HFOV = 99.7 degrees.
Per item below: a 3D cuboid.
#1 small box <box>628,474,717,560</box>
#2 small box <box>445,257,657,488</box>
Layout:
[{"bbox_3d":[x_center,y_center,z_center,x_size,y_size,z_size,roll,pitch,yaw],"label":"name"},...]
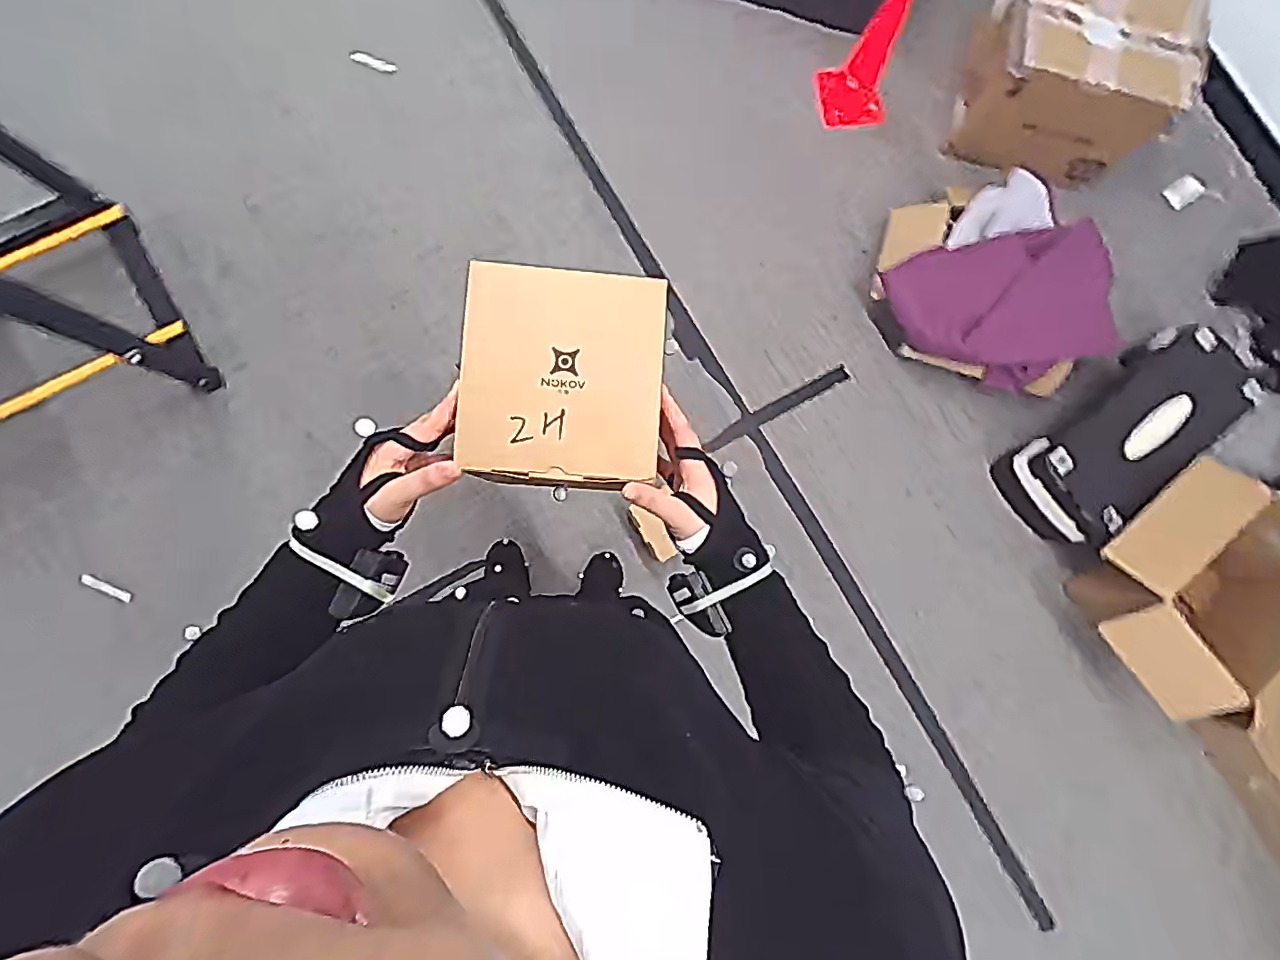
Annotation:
[{"bbox_3d":[0.083,0.103,1.447,0.179,0.176,0.168,-29,86,-5],"label":"small box"},{"bbox_3d":[-0.078,-0.088,0.524,0.168,0.176,0.179,3,86,-4],"label":"small box"}]
